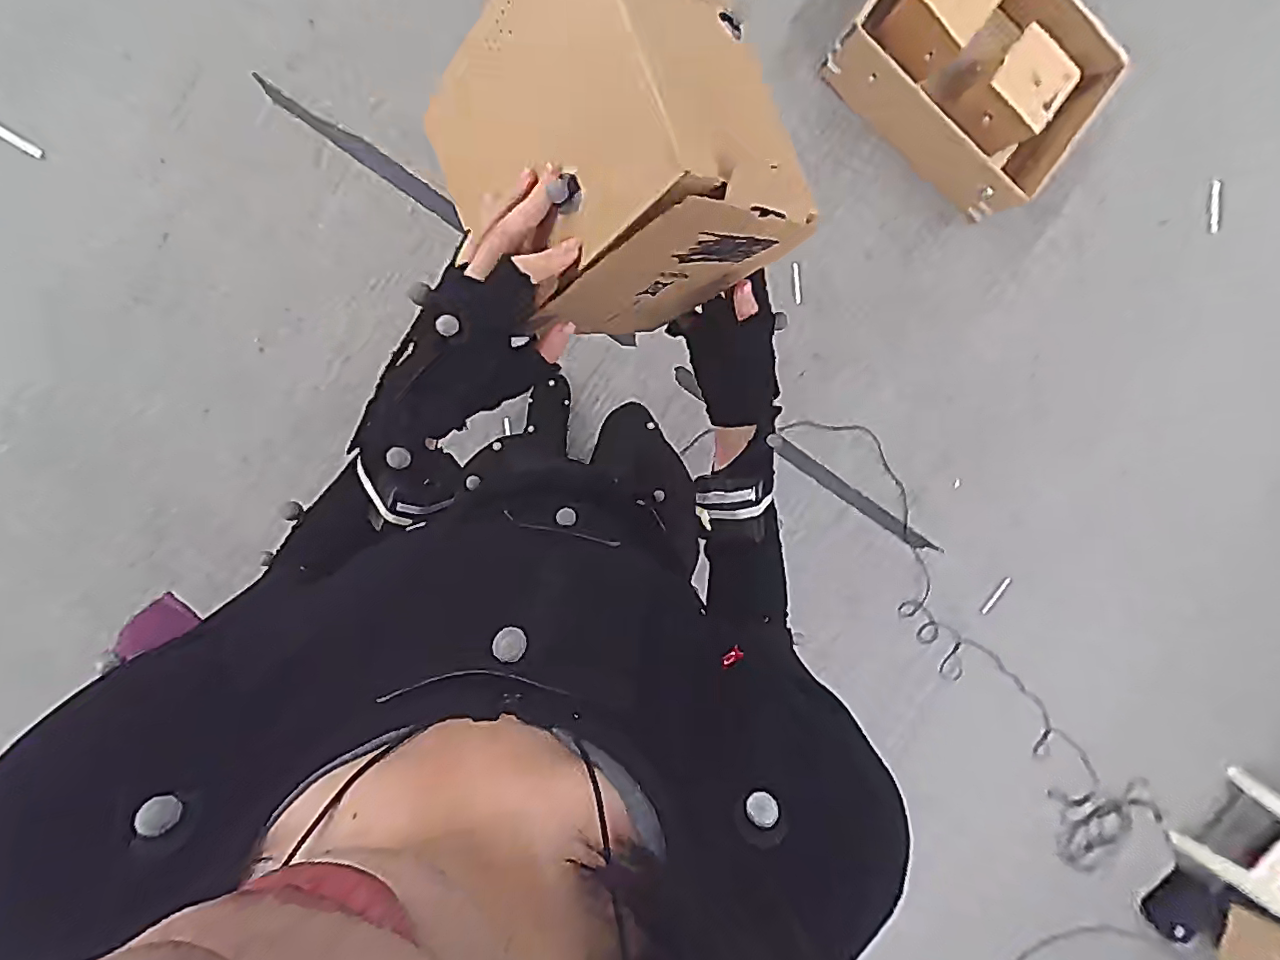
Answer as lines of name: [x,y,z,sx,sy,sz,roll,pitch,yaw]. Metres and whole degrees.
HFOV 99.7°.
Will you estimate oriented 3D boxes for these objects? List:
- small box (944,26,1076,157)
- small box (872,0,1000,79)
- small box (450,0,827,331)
small box: [0.911,-0.954,1.350,0.179,0.176,0.168,34,96,-11]
small box: [0.700,-1.108,1.289,0.179,0.176,0.168,36,94,-13]
small box: [-0.005,-0.222,0.378,0.168,0.179,0.176,-19,88,-48]
